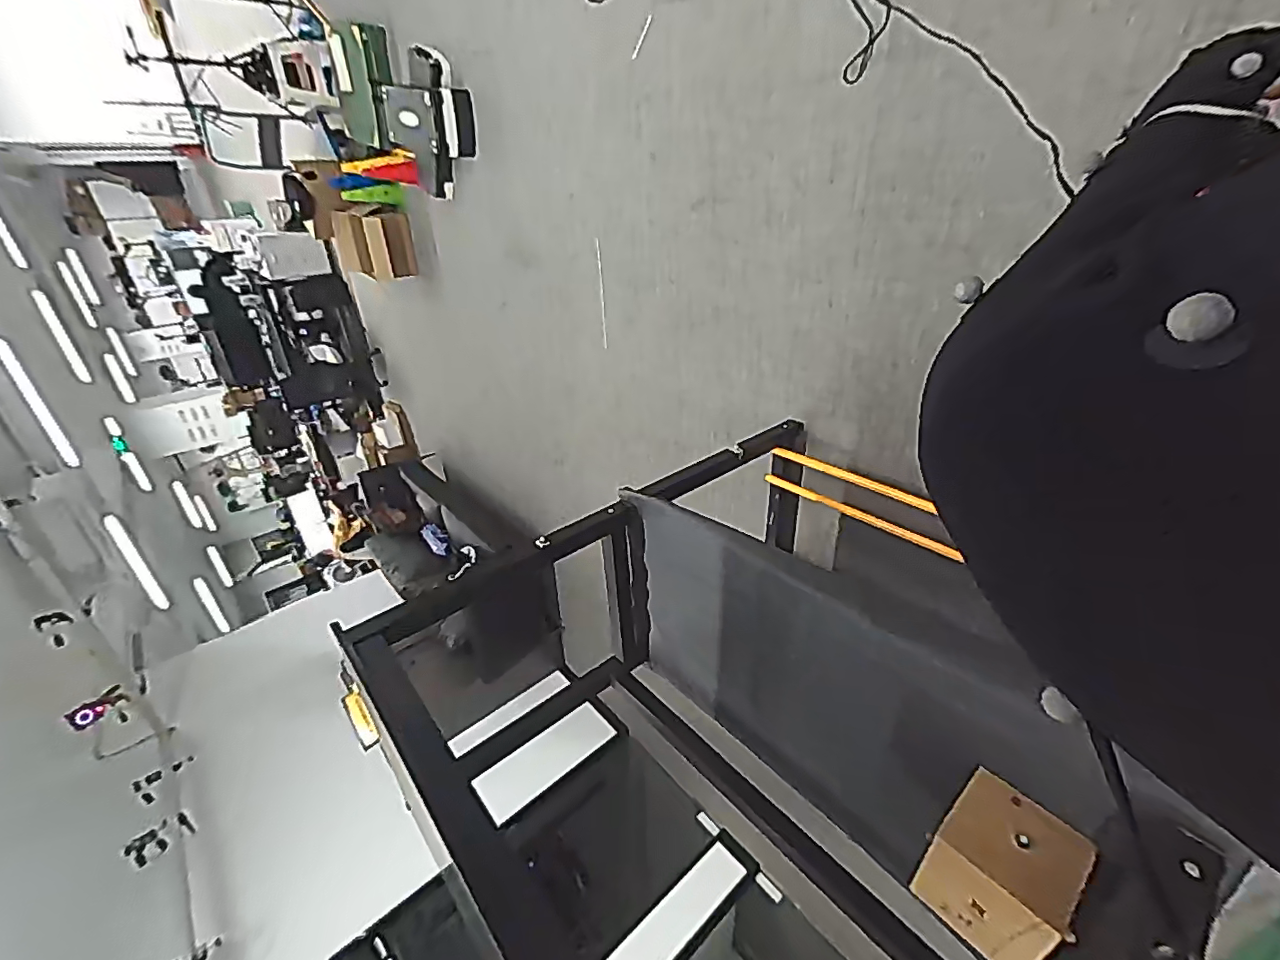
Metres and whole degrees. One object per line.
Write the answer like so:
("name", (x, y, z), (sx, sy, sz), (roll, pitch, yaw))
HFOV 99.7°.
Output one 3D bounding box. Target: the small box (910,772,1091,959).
("small box", (0.559, 0.604, 0.841), (0.168, 0.176, 0.179), (31, 134, 41))
